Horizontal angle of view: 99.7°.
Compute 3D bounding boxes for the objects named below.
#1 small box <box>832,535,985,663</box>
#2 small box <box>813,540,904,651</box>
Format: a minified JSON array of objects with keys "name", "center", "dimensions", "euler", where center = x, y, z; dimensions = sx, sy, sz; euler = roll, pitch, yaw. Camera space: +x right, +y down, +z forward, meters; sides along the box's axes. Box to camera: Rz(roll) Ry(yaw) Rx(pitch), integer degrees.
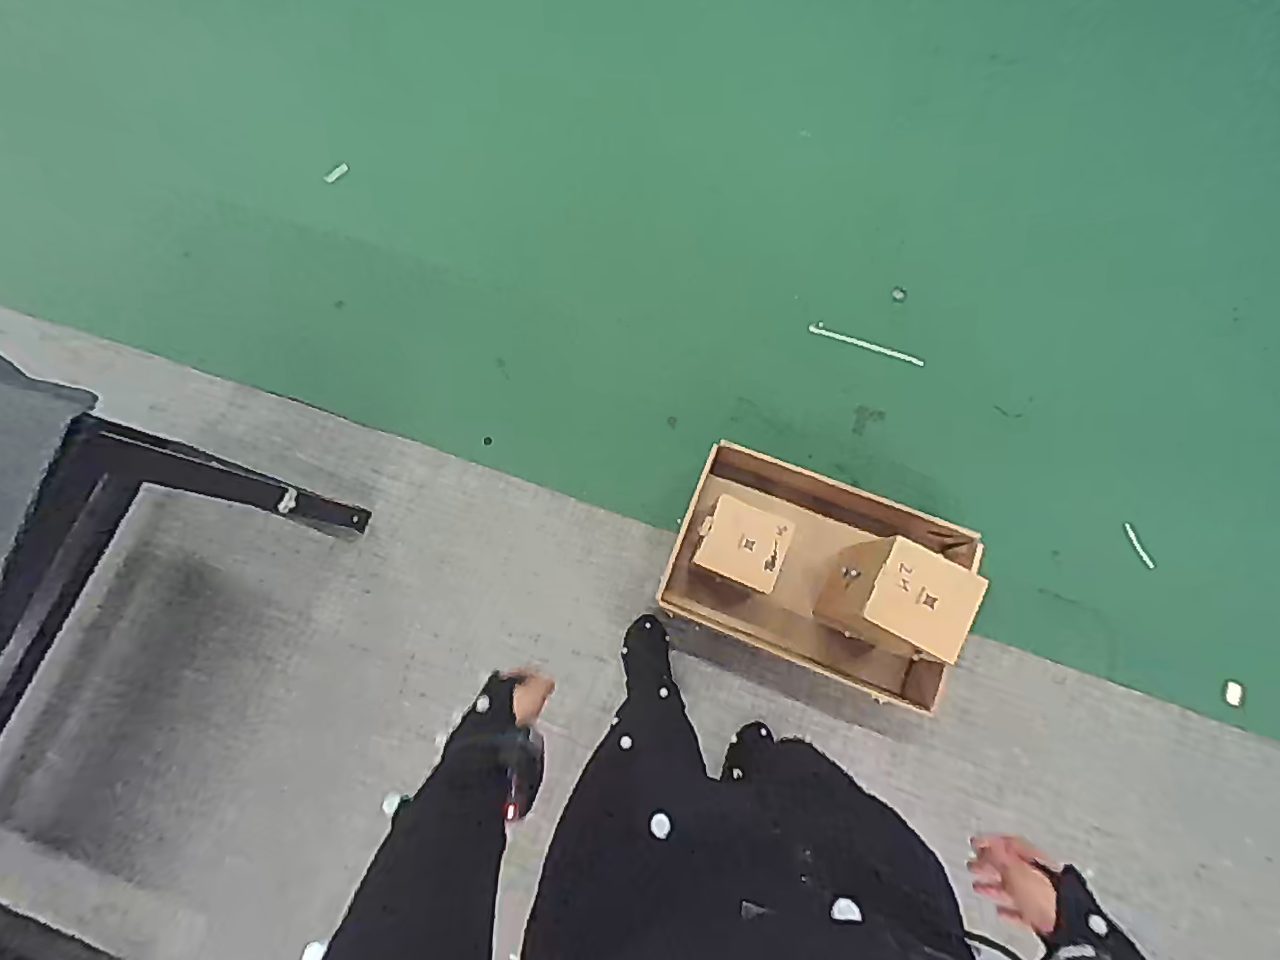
[{"name":"small box","center":[0.501,0.222,1.033],"dimensions":[0.179,0.176,0.168],"euler":[29,81,7]},{"name":"small box","center":[0.506,0.251,1.195],"dimensions":[0.168,0.176,0.179],"euler":[28,82,7]}]
